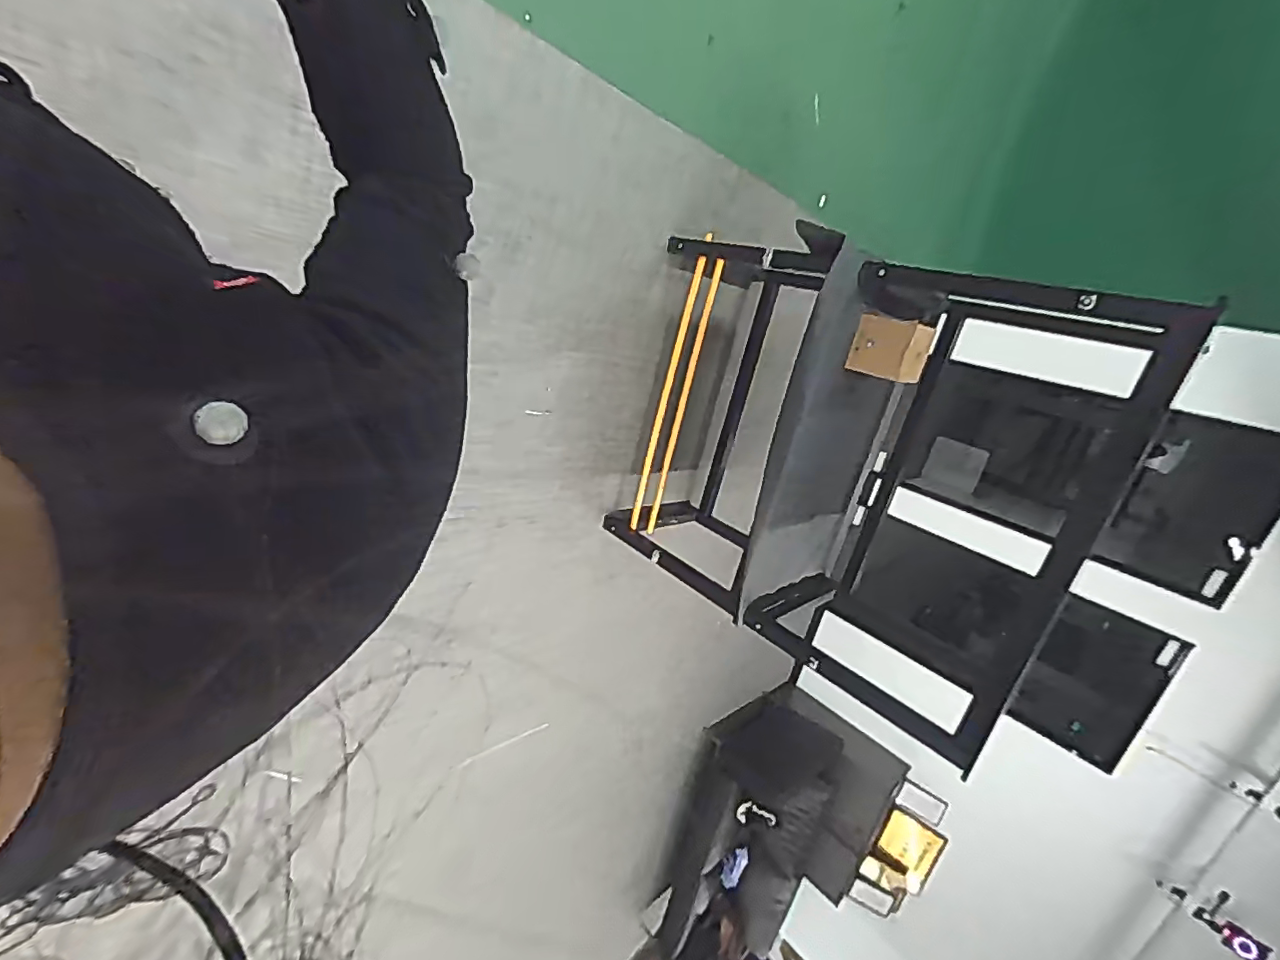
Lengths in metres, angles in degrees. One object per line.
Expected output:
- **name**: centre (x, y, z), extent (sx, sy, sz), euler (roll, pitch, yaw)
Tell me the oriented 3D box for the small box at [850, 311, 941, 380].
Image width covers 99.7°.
- **small box**: centre (0.765, -0.405, 1.625), extent (0.179, 0.176, 0.168), euler (-8, 118, -45)
